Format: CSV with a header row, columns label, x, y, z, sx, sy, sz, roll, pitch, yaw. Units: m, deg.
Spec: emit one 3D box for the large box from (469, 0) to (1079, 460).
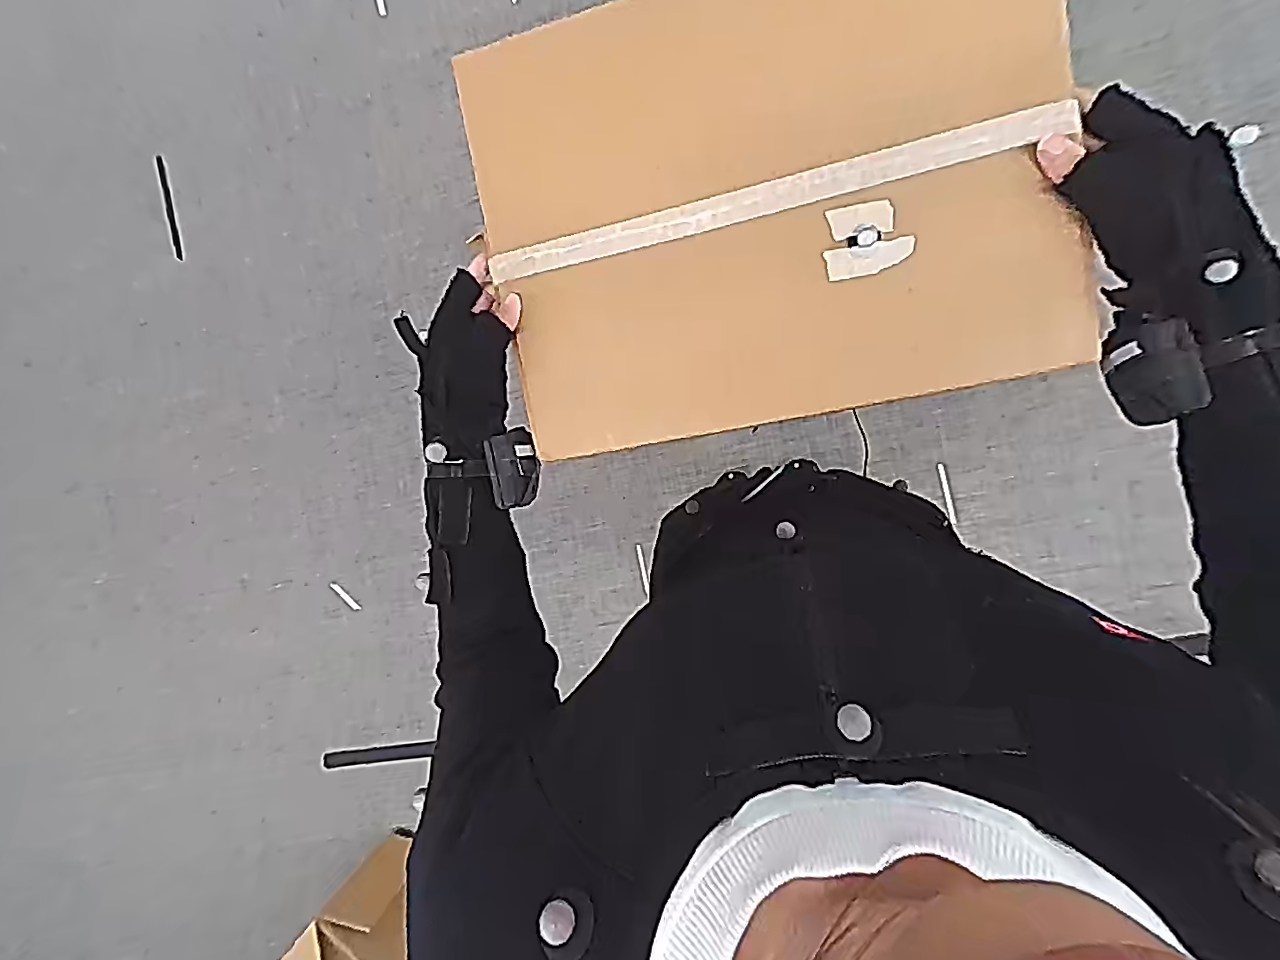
label,x,y,z,sx,sy,sz,roll,pitch,yaw
large box,0.109,-0.220,0.544,0.408,0.320,0.320,-10,97,11
